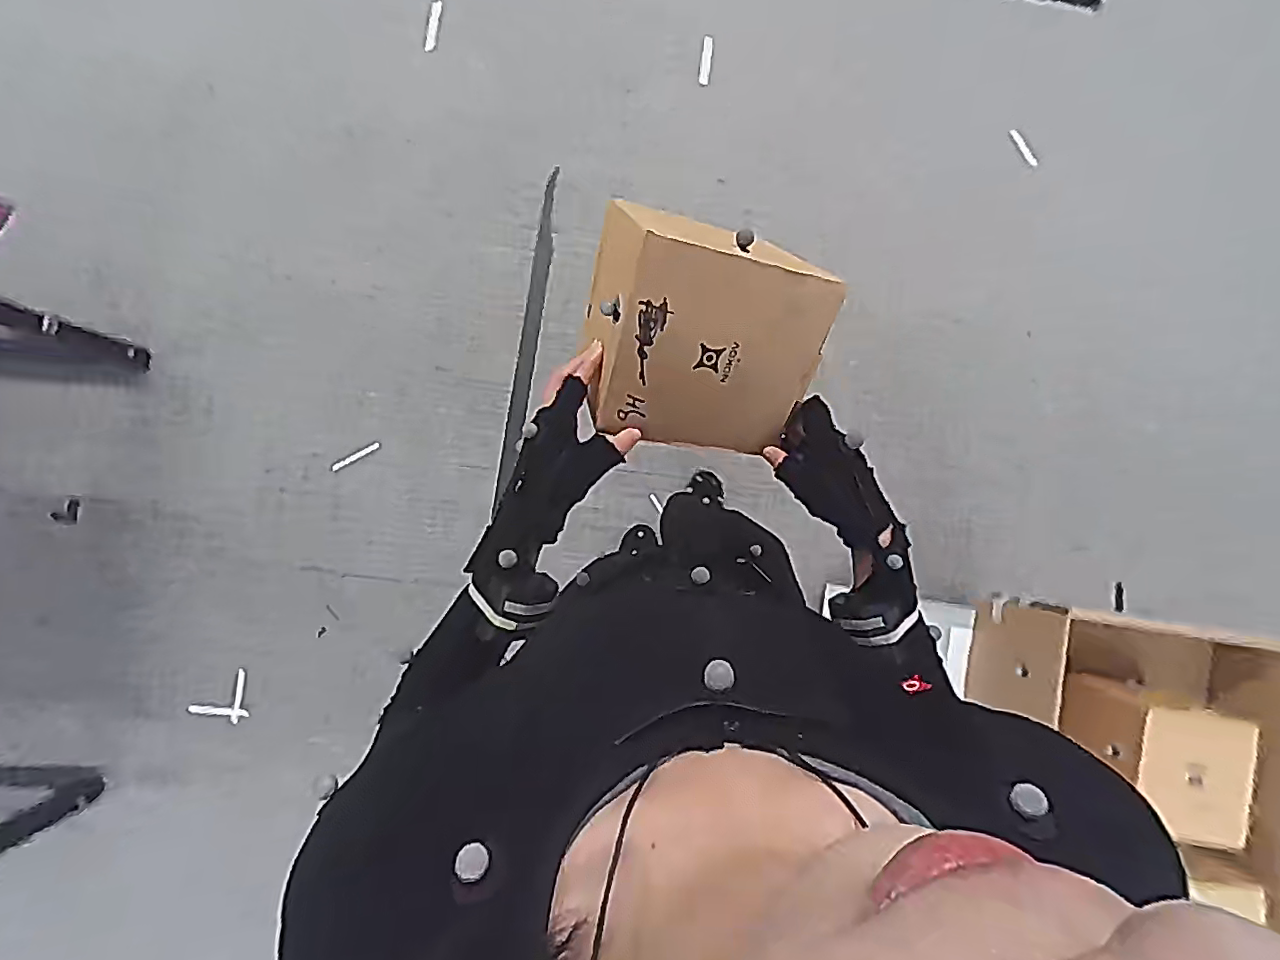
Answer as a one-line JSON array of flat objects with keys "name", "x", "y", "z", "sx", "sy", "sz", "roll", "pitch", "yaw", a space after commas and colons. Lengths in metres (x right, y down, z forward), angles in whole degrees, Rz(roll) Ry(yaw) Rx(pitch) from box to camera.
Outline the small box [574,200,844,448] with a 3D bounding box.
[{"name": "small box", "x": 0.046, "y": -0.148, "z": 0.506, "sx": 0.179, "sy": 0.176, "sz": 0.168, "roll": 6, "pitch": 121, "yaw": -18}]
